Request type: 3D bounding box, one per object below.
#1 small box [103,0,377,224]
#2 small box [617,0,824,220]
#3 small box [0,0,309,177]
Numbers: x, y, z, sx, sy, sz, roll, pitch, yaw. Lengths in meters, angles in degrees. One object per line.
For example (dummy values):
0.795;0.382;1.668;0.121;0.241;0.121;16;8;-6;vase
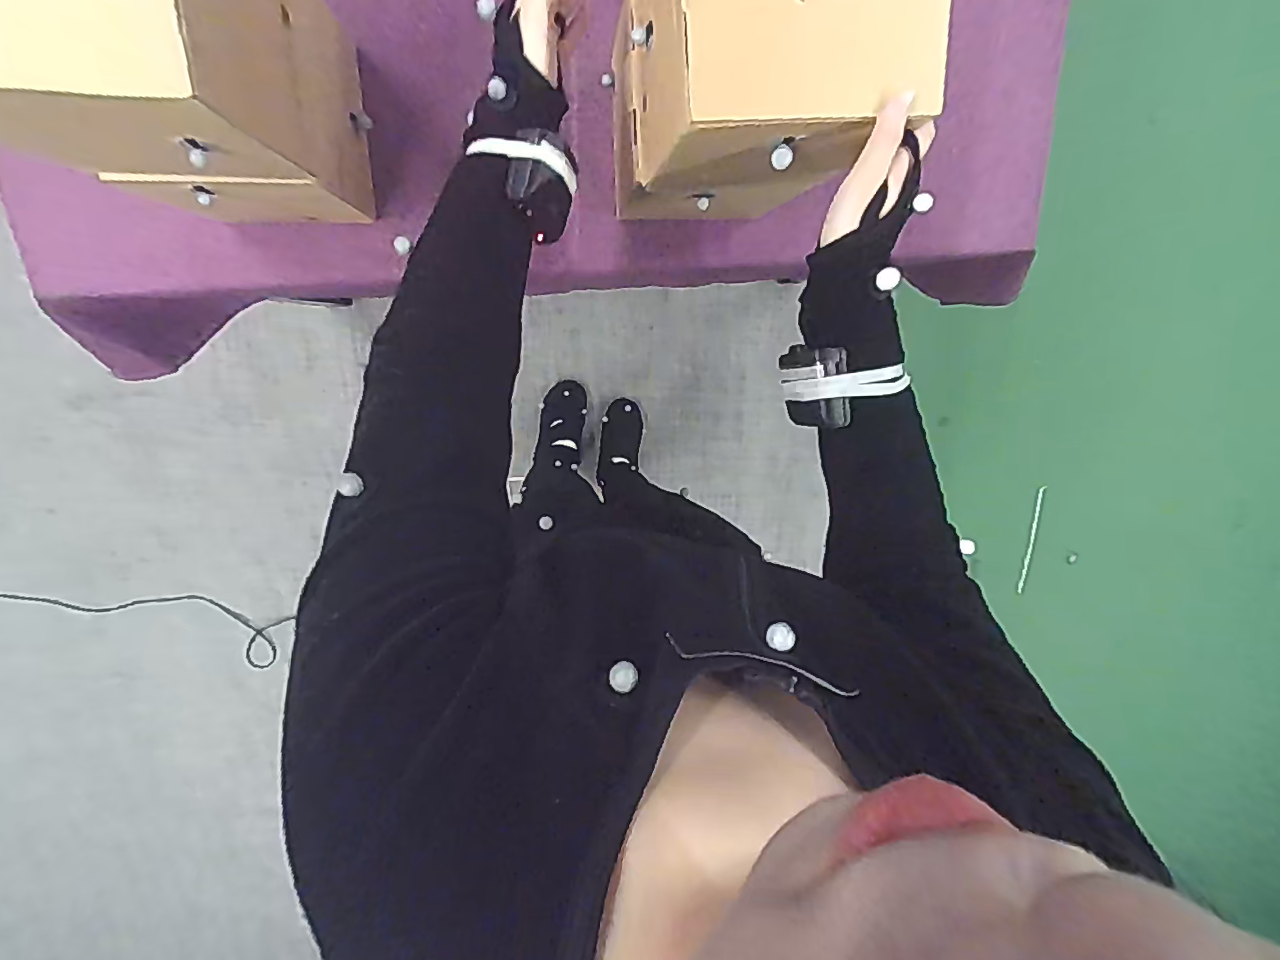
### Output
-0.364;-0.353;0.503;0.168;0.176;0.179;-2;105;-7;small box
0.068;-0.375;0.561;0.179;0.176;0.168;-4;106;-8;small box
-0.340;-0.309;0.347;0.179;0.176;0.168;-1;105;-8;small box
